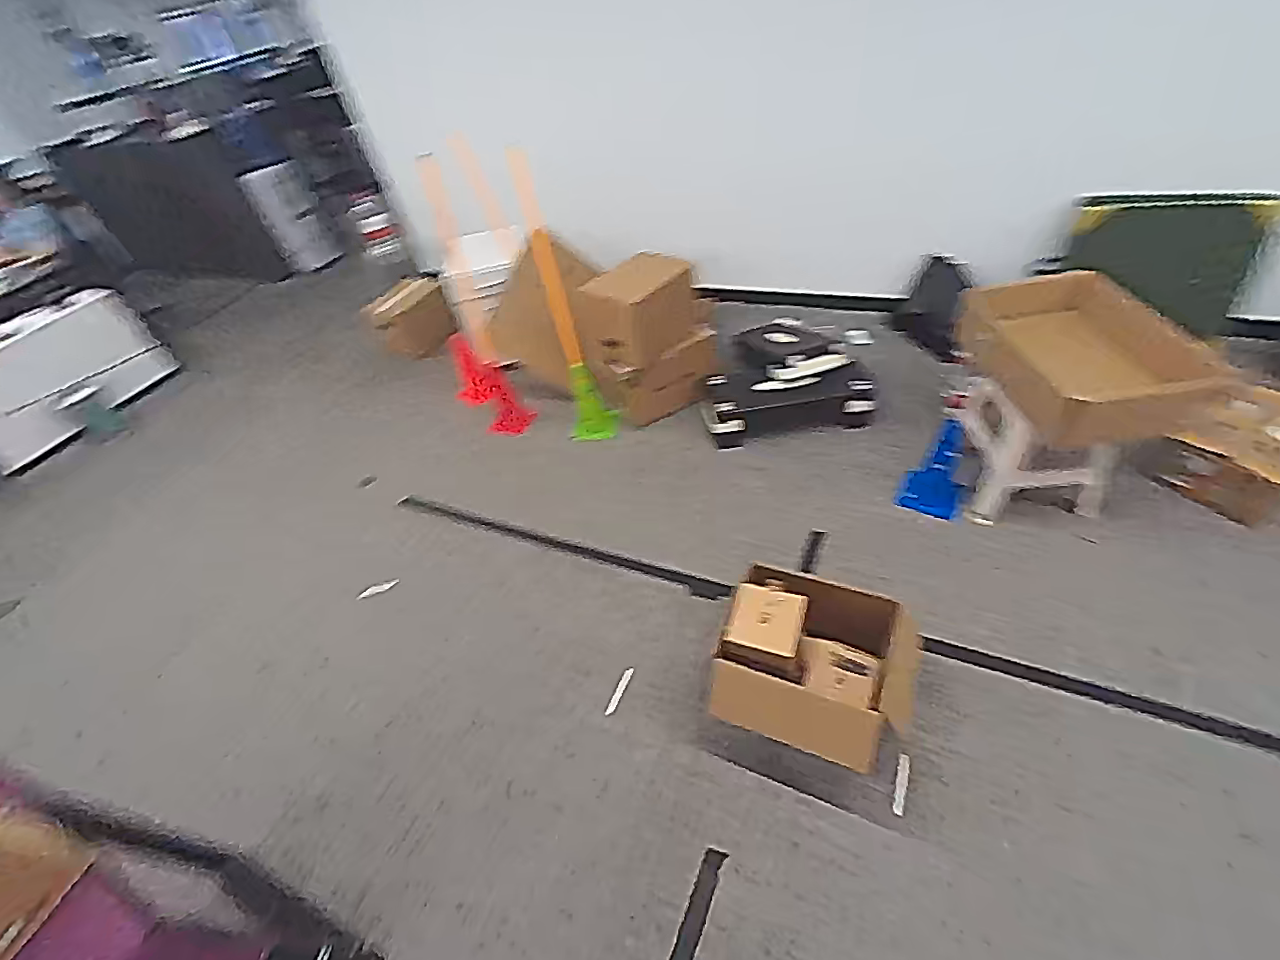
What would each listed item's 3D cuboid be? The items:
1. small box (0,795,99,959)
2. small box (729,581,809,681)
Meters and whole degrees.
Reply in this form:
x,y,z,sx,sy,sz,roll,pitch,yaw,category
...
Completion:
x,y,z,sx,sy,sz,roll,pitch,yaw,category
-0.989,0.585,0.800,0.179,0.176,0.168,9,51,21,small box
0.347,0.405,1.442,0.168,0.176,0.179,13,51,23,small box
